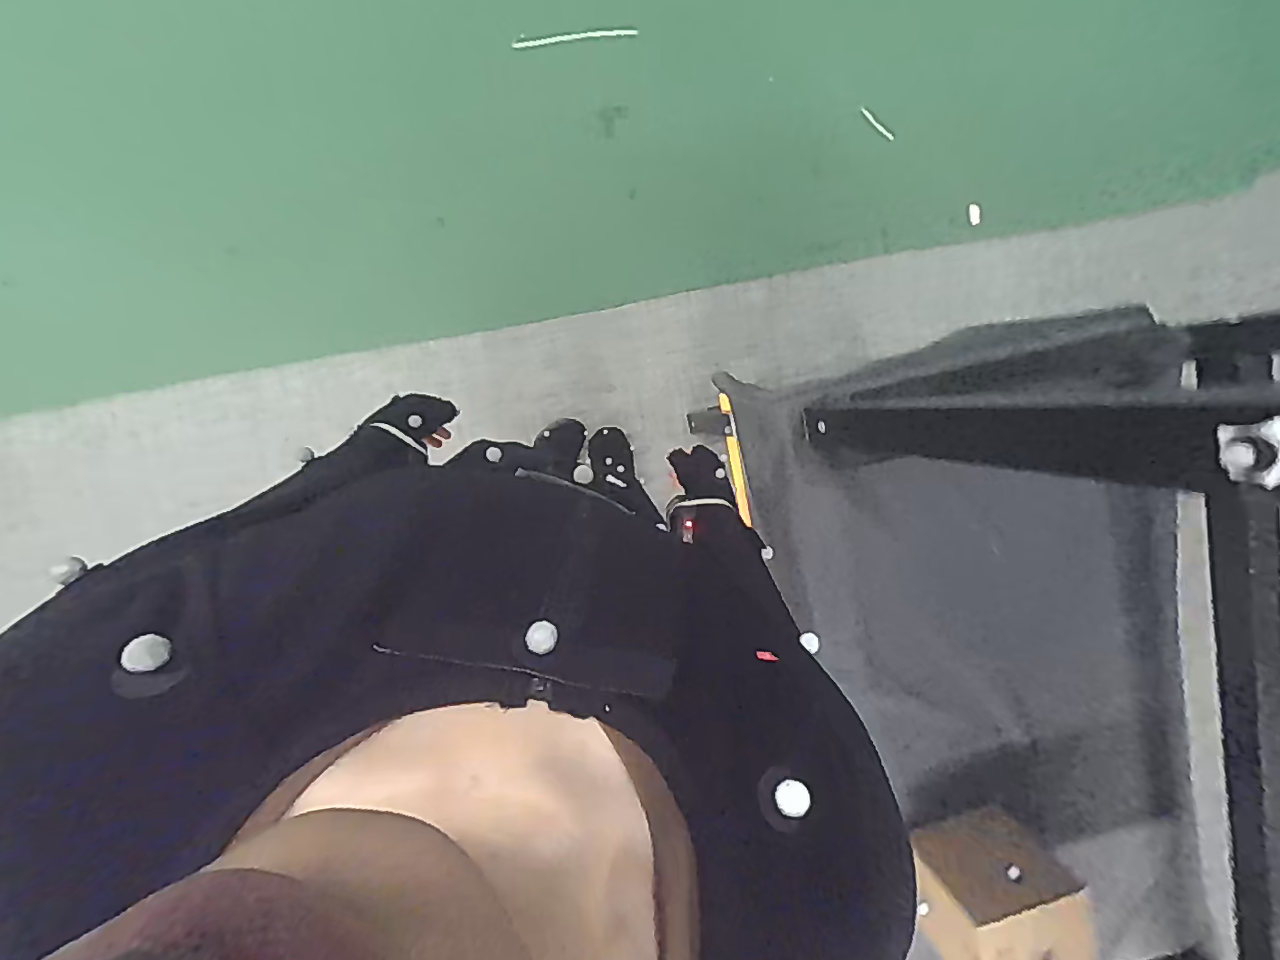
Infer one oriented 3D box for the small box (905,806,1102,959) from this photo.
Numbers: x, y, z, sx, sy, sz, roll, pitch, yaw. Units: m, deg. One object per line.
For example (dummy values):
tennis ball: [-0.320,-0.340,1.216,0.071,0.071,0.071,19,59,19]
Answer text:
small box: [0.533,0.630,0.806,0.179,0.176,0.168,-13,97,-6]
